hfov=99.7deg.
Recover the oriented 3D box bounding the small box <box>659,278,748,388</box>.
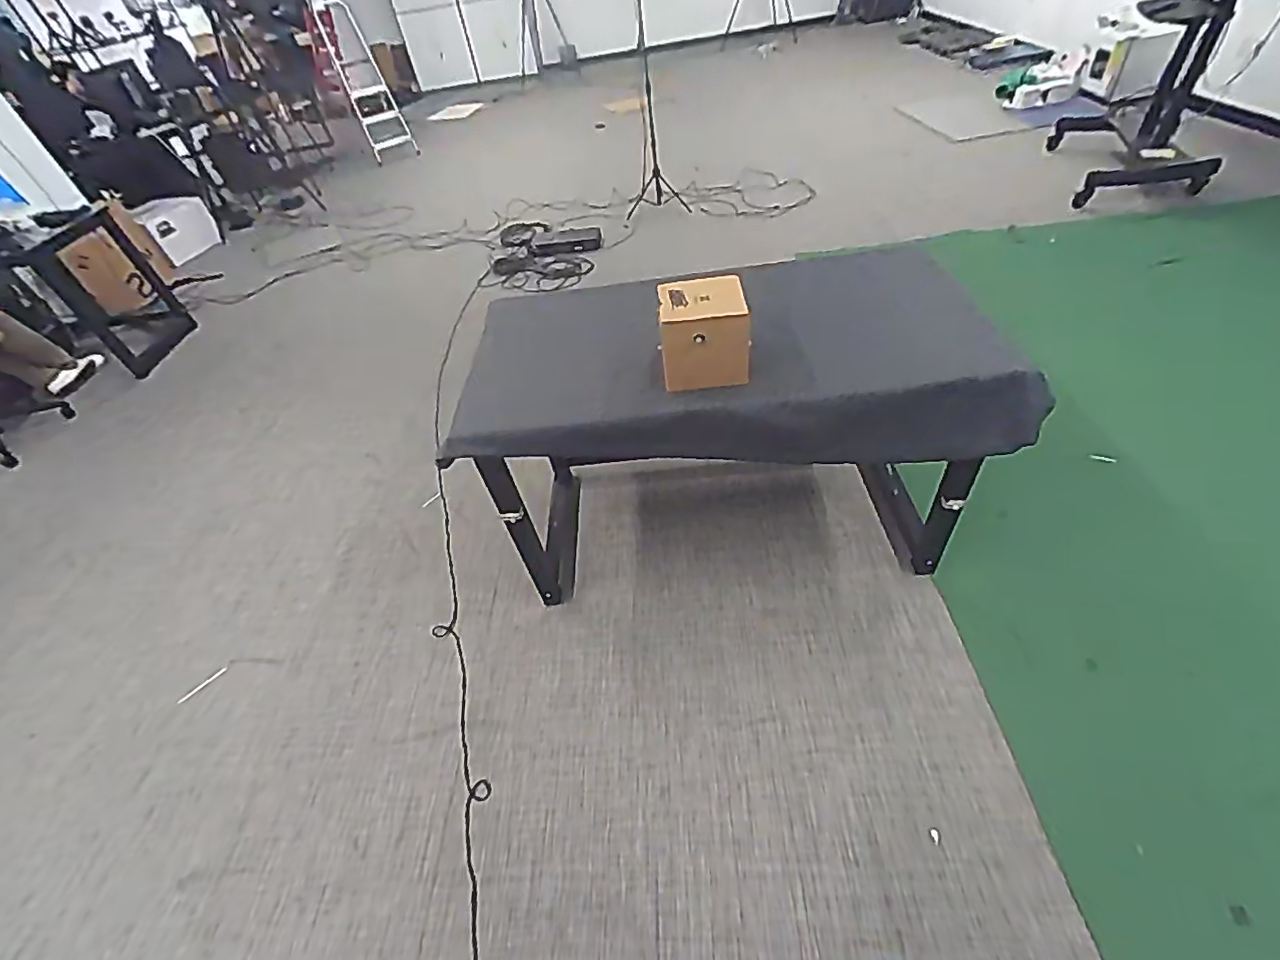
[{"bbox_3d":[0.137,-0.314,1.170,0.179,0.176,0.168,-5,46,5],"label":"small box"}]
